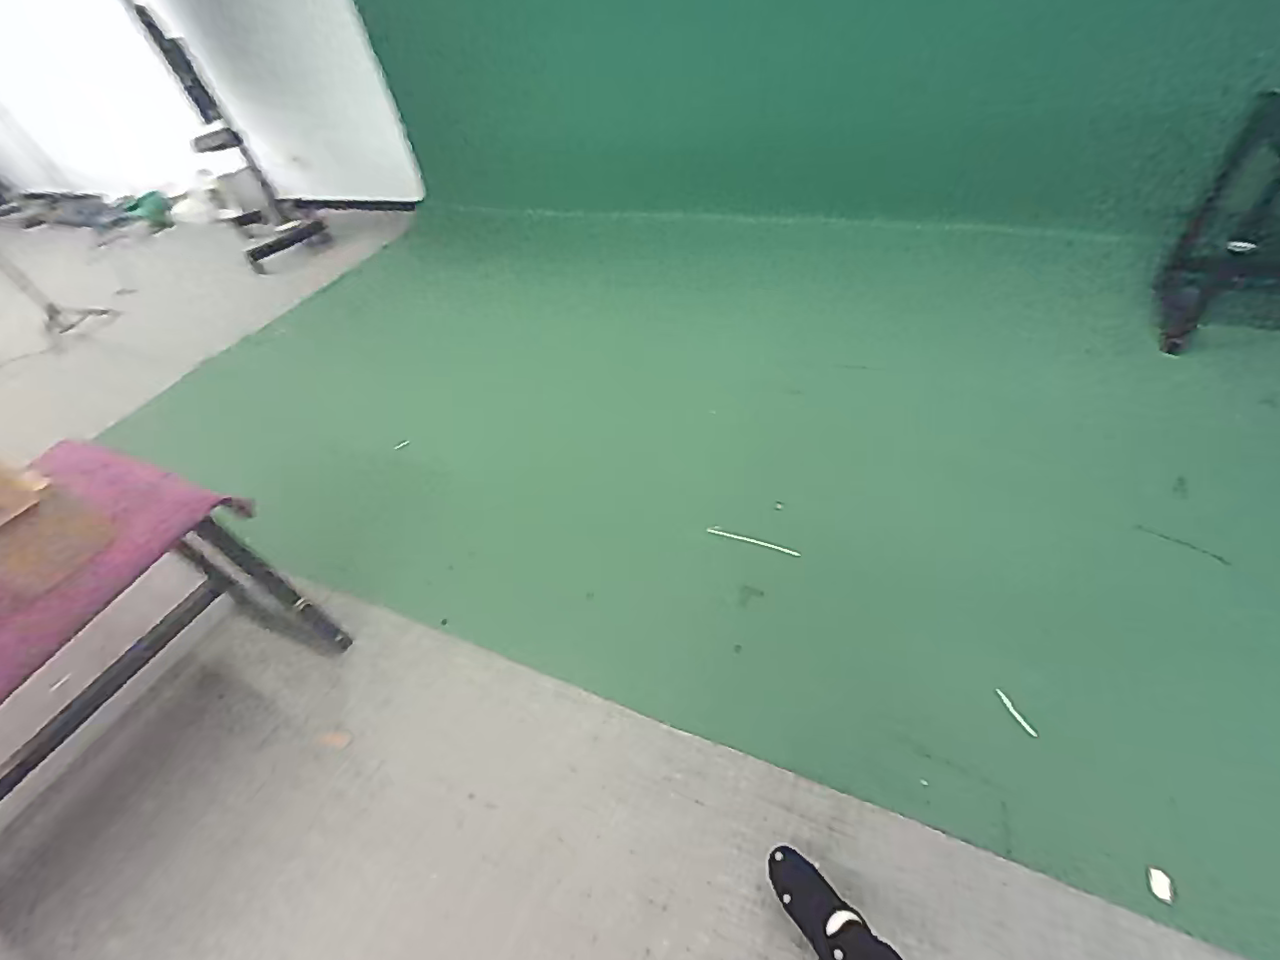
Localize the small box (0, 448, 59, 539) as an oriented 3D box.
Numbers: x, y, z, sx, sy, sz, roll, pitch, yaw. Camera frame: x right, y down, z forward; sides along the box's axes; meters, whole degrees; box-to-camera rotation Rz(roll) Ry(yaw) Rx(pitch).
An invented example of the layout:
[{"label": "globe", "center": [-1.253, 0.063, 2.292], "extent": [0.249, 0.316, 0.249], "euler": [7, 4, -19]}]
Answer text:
[{"label": "small box", "center": [-1.253, 0.013, 0.995], "extent": [0.179, 0.176, 0.168], "euler": [20, 55, 27]}]

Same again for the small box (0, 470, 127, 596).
[{"label": "small box", "center": [-1.238, 0.110, 1.127], "extent": [0.168, 0.176, 0.179], "euler": [12, 50, 24]}]
